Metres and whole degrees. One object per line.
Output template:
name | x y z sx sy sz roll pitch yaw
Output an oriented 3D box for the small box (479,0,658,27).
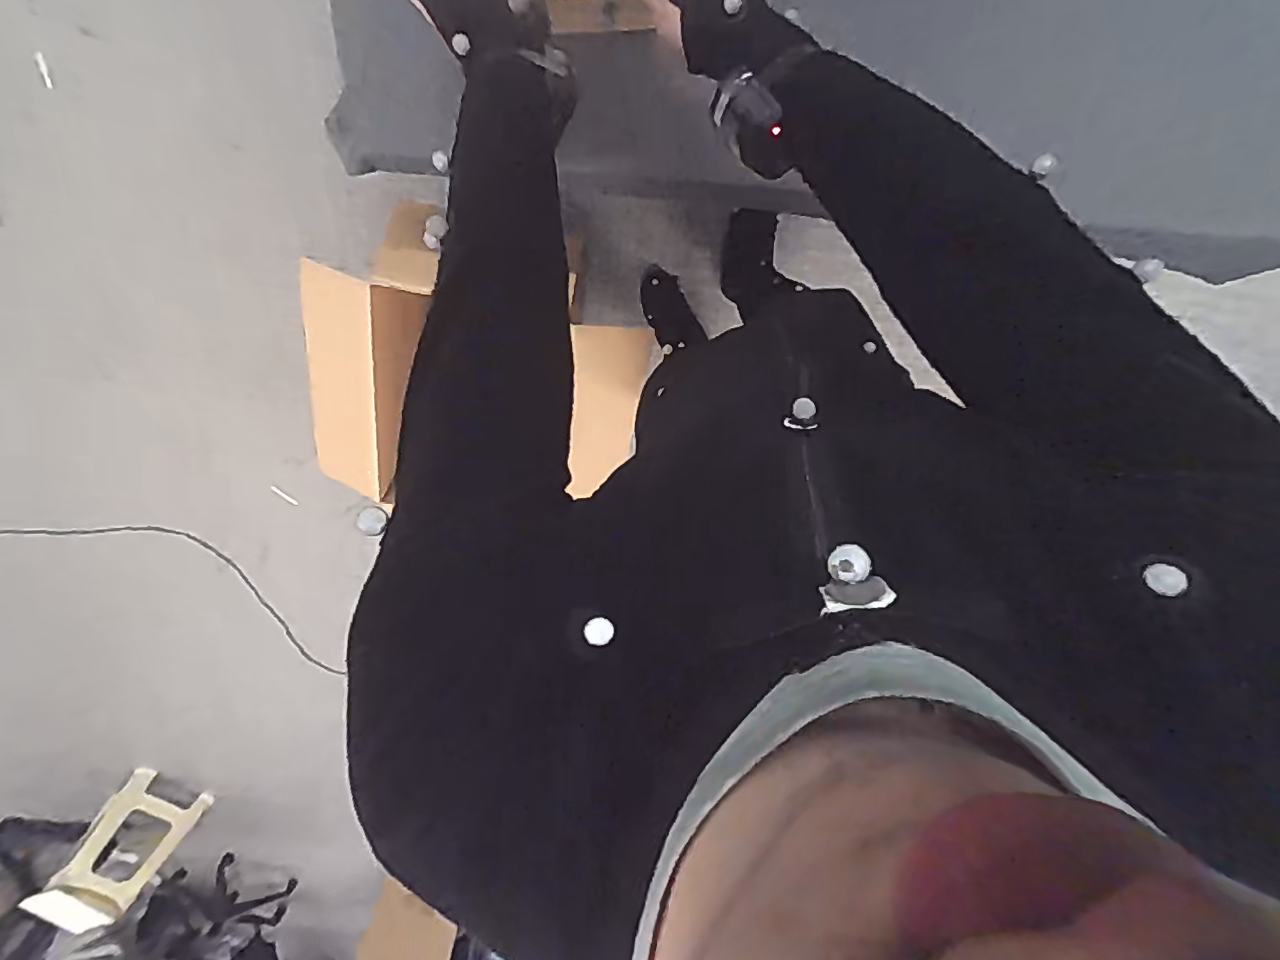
small box | -0.068 -0.511 0.458 0.168 0.176 0.179 -3 119 2
